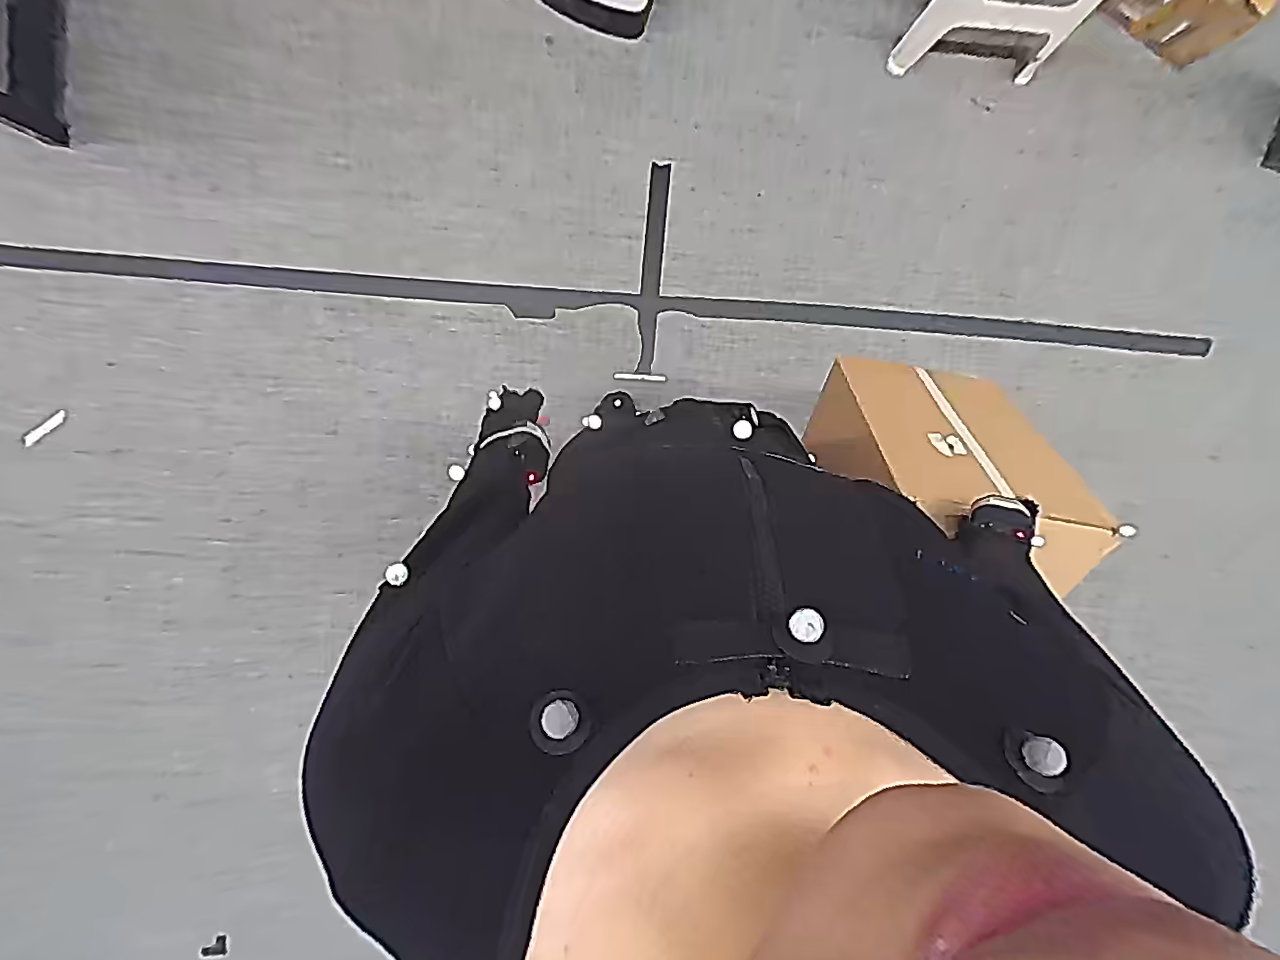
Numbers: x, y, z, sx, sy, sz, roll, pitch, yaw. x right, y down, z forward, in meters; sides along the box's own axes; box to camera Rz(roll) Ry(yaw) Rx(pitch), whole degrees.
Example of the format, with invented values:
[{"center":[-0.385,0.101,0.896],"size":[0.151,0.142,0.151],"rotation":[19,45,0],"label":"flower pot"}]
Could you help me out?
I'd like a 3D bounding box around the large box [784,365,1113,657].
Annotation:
[{"center":[0.483,0.045,0.973],"size":[0.320,0.408,0.320],"rotation":[8,130,-3],"label":"large box"}]
